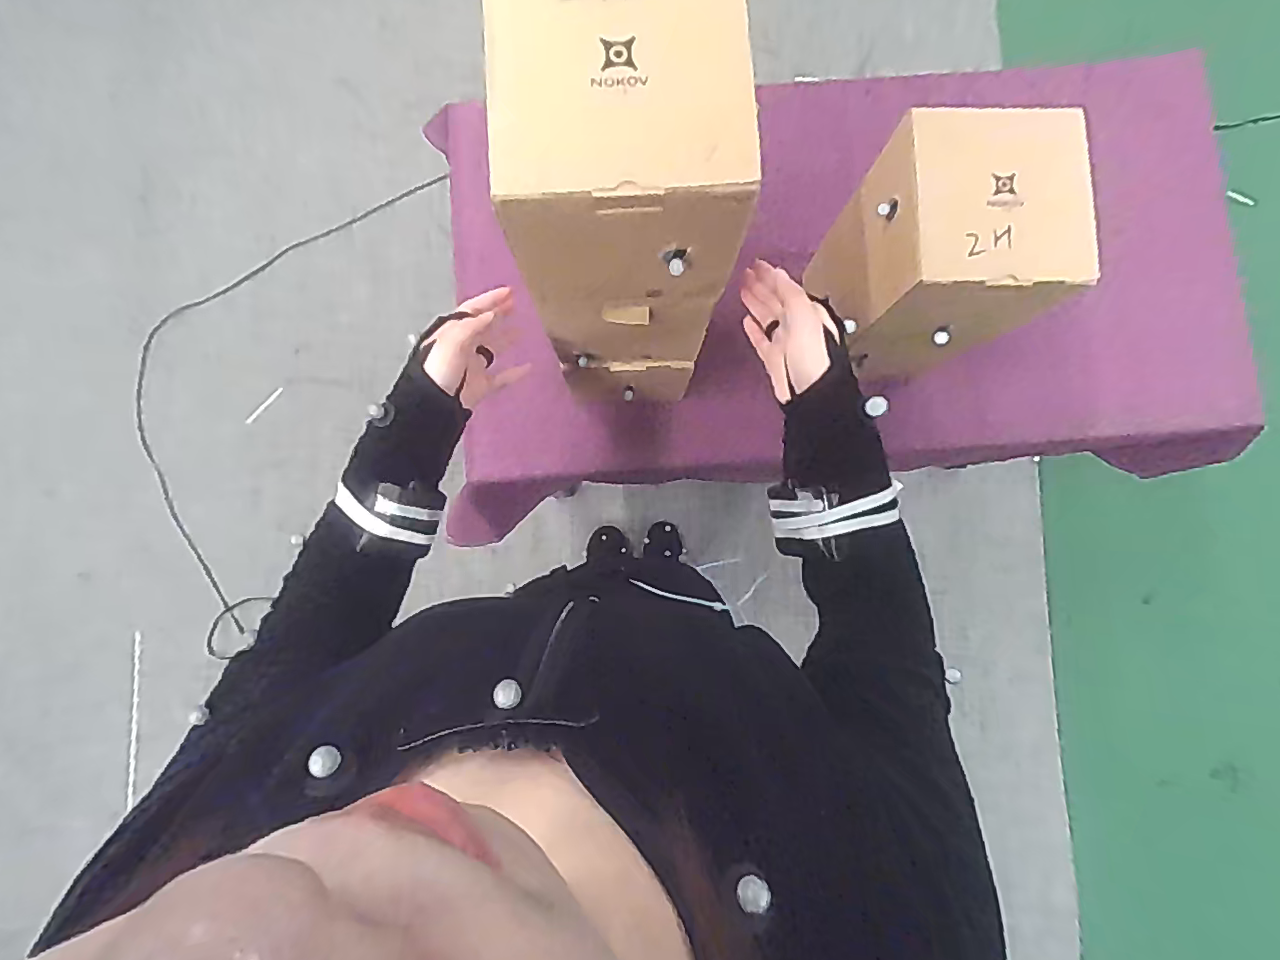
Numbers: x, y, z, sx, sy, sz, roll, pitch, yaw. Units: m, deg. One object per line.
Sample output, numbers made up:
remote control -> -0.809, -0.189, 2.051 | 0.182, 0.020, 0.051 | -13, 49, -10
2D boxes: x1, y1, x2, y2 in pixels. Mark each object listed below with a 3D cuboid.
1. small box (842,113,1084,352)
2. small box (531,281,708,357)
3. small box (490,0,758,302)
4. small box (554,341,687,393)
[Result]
small box -> 0.331, -0.253, 0.588 | 0.168, 0.176, 0.179 | 1, 85, -1
small box -> -0.018, -0.238, 0.577 | 0.168, 0.176, 0.179 | 0, 84, -2
small box -> -0.013, -0.248, 0.414 | 0.168, 0.176, 0.179 | -2, 85, -3
small box -> -0.026, -0.218, 0.741 | 0.168, 0.176, 0.179 | -1, 86, -2
